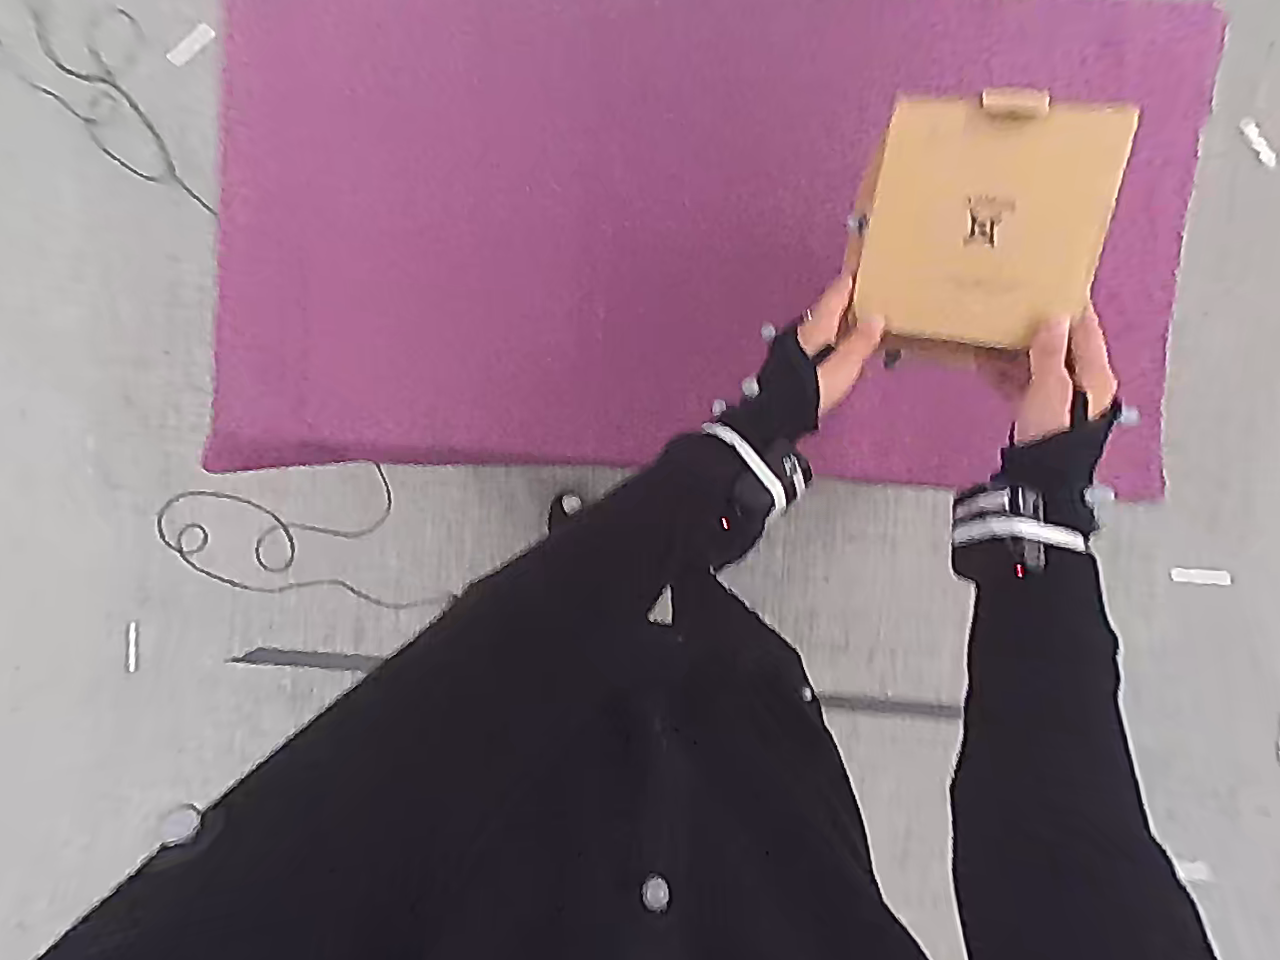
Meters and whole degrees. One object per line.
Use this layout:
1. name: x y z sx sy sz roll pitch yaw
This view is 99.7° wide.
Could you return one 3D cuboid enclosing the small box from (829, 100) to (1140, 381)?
1. small box: 0.277 -0.195 0.484 0.168 0.176 0.179 13 98 12
